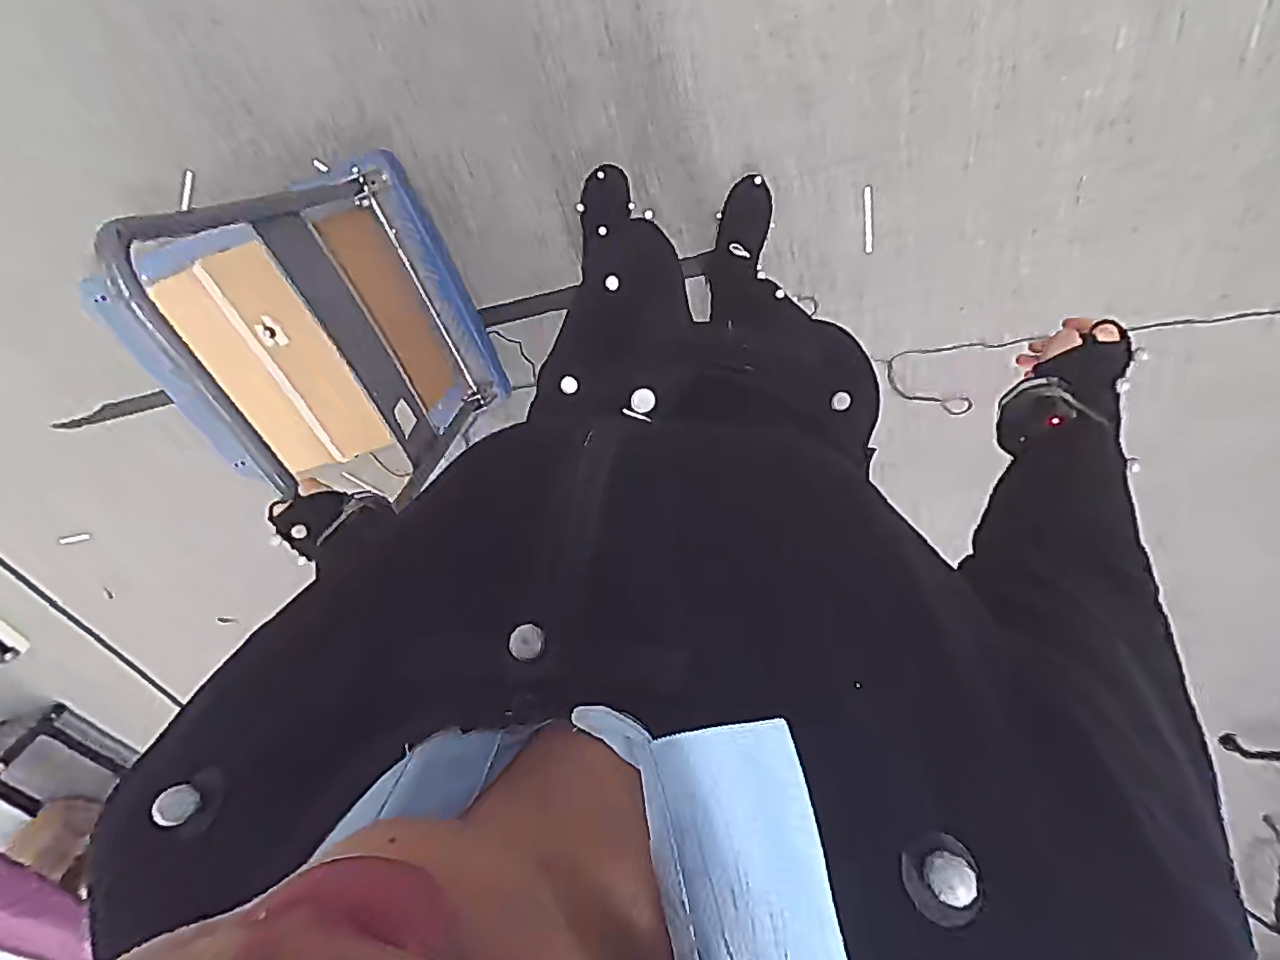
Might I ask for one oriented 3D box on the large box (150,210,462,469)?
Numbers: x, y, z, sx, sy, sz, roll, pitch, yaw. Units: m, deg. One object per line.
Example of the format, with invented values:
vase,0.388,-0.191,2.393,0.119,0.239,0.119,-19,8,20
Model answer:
large box,-0.649,-0.293,1.140,0.320,0.320,0.408,-14,121,14
